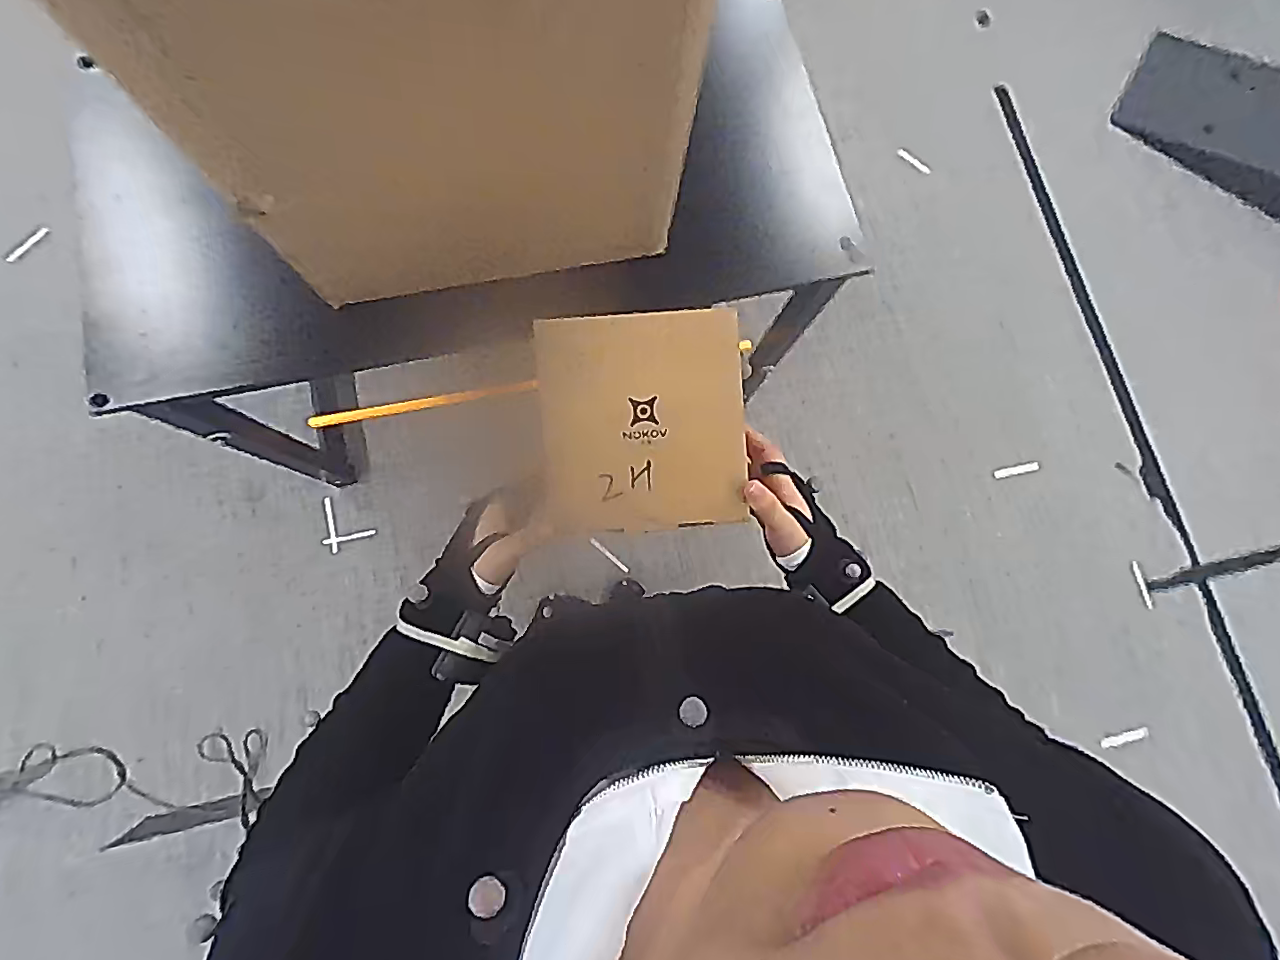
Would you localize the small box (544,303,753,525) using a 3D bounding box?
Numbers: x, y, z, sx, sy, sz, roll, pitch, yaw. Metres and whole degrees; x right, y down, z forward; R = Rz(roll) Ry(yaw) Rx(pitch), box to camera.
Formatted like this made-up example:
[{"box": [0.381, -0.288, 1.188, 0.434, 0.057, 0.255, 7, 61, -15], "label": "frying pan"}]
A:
[{"box": [0.004, -0.054, 0.512, 0.168, 0.176, 0.179, -3, 91, -1], "label": "small box"}]
